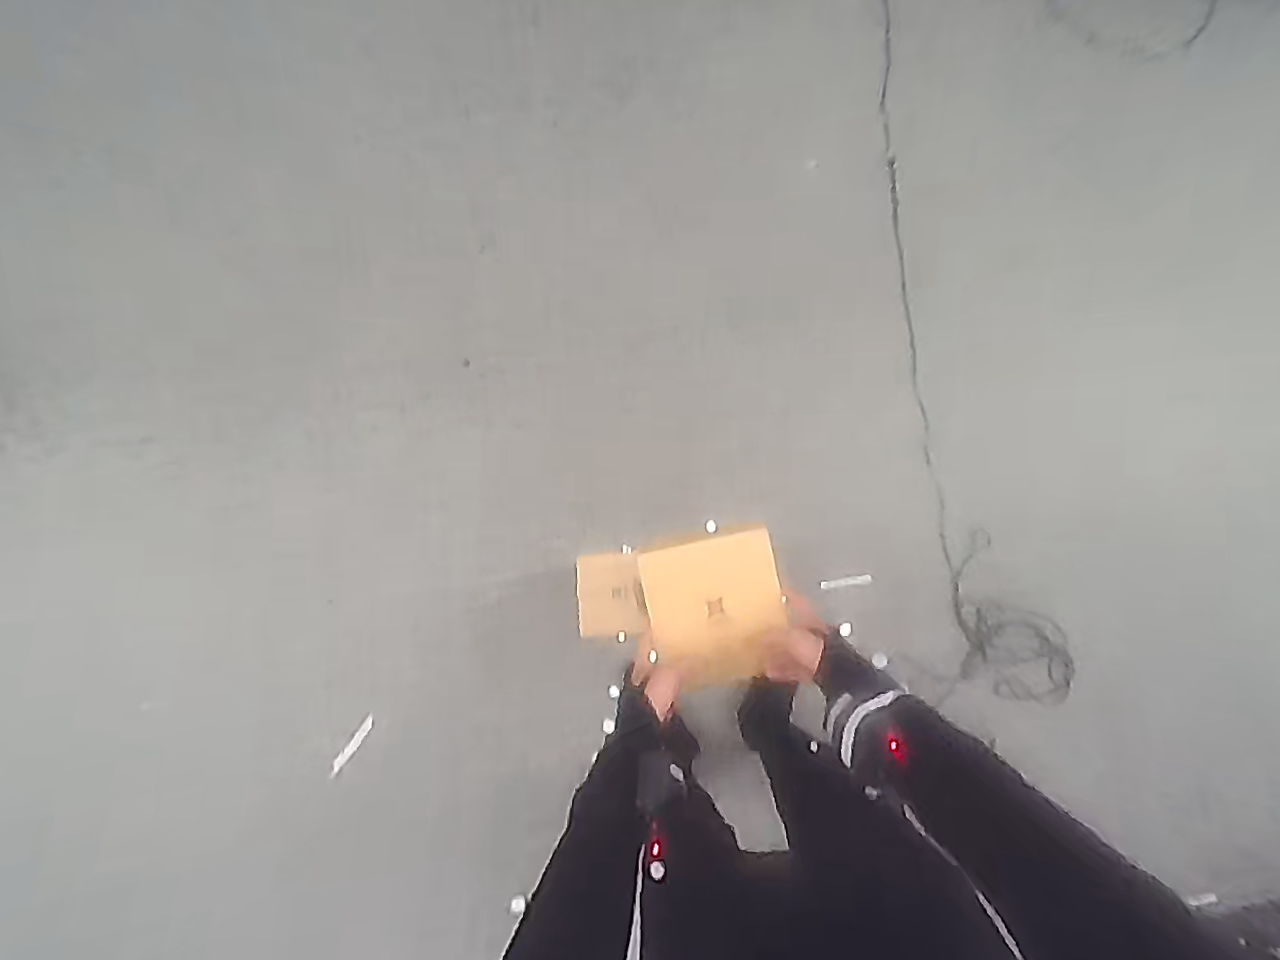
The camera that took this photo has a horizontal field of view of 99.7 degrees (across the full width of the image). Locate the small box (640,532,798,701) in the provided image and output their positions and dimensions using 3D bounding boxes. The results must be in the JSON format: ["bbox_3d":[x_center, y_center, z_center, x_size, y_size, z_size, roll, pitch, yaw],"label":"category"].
[{"bbox_3d":[0.095,0.168,0.729,0.168,0.176,0.179,-12,88,1],"label":"small box"}]

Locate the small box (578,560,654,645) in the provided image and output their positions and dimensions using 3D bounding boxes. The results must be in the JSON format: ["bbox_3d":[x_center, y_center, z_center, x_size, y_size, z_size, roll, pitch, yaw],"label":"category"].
[{"bbox_3d":[-0.034,0.260,1.171,0.179,0.176,0.168,-4,79,1],"label":"small box"}]
